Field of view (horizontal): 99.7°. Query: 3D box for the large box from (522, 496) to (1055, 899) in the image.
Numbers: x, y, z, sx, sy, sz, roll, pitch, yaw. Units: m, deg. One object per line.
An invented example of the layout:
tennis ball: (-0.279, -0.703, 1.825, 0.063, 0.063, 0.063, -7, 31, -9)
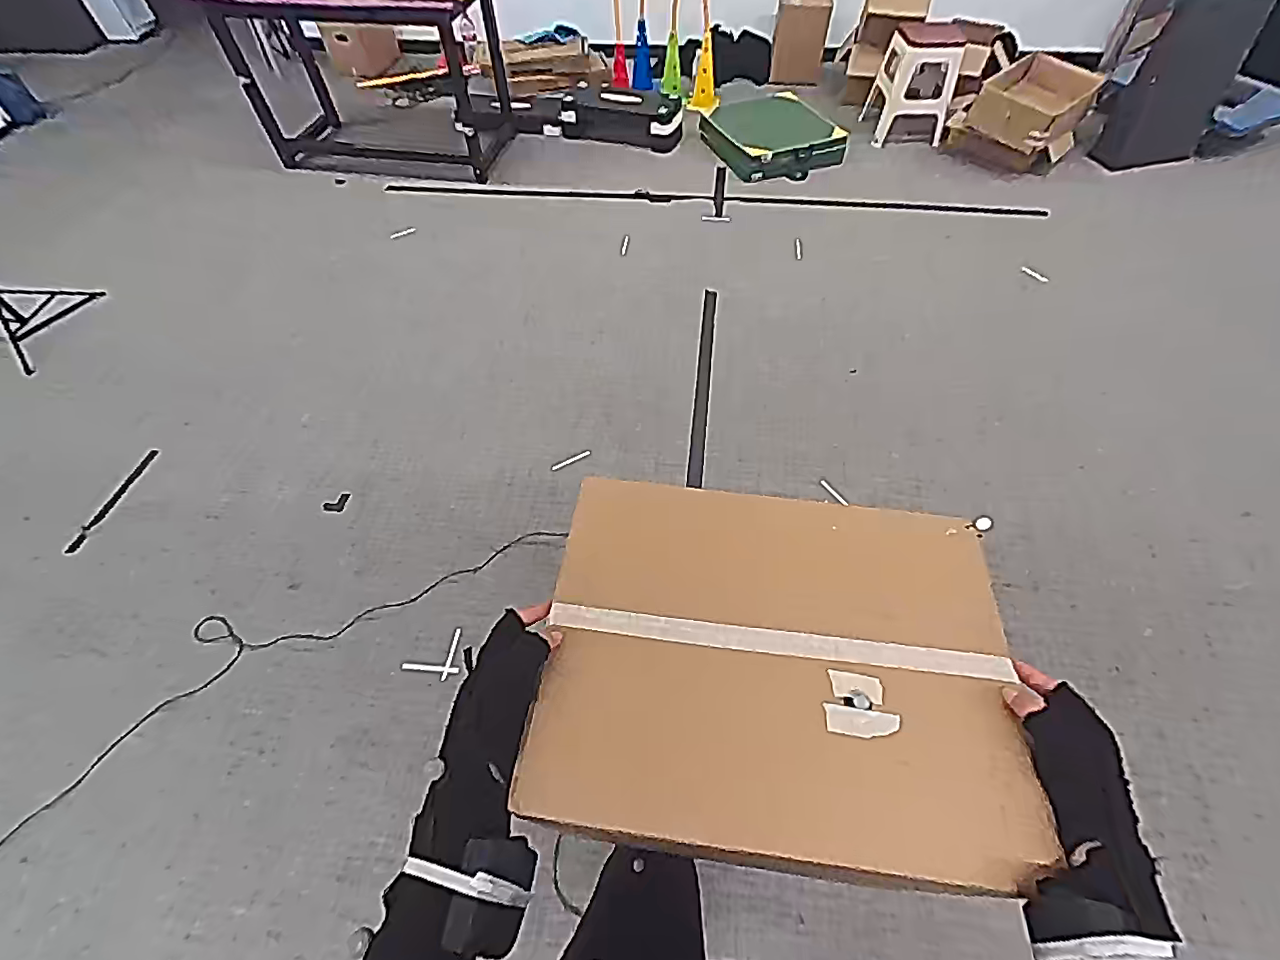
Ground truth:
large box: (0.119, 0.244, 0.606, 0.408, 0.320, 0.320, 6, 55, 4)
